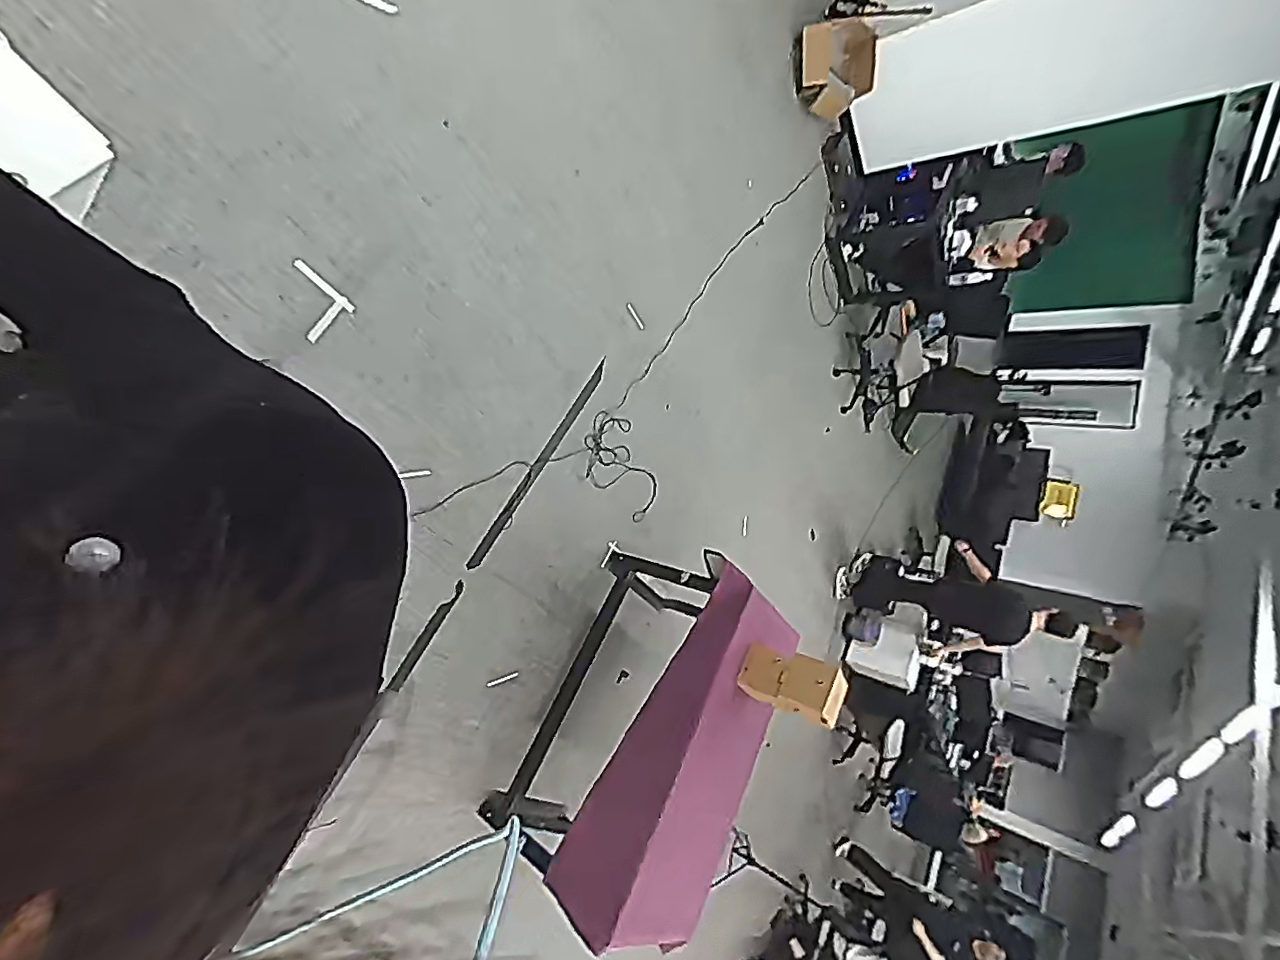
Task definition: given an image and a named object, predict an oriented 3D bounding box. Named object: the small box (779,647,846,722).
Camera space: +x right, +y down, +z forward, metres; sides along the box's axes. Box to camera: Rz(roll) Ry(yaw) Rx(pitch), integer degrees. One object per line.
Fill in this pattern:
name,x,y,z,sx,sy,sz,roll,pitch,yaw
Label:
small box,0.626,0.736,1.961,0.179,0.176,0.168,-56,134,-26
